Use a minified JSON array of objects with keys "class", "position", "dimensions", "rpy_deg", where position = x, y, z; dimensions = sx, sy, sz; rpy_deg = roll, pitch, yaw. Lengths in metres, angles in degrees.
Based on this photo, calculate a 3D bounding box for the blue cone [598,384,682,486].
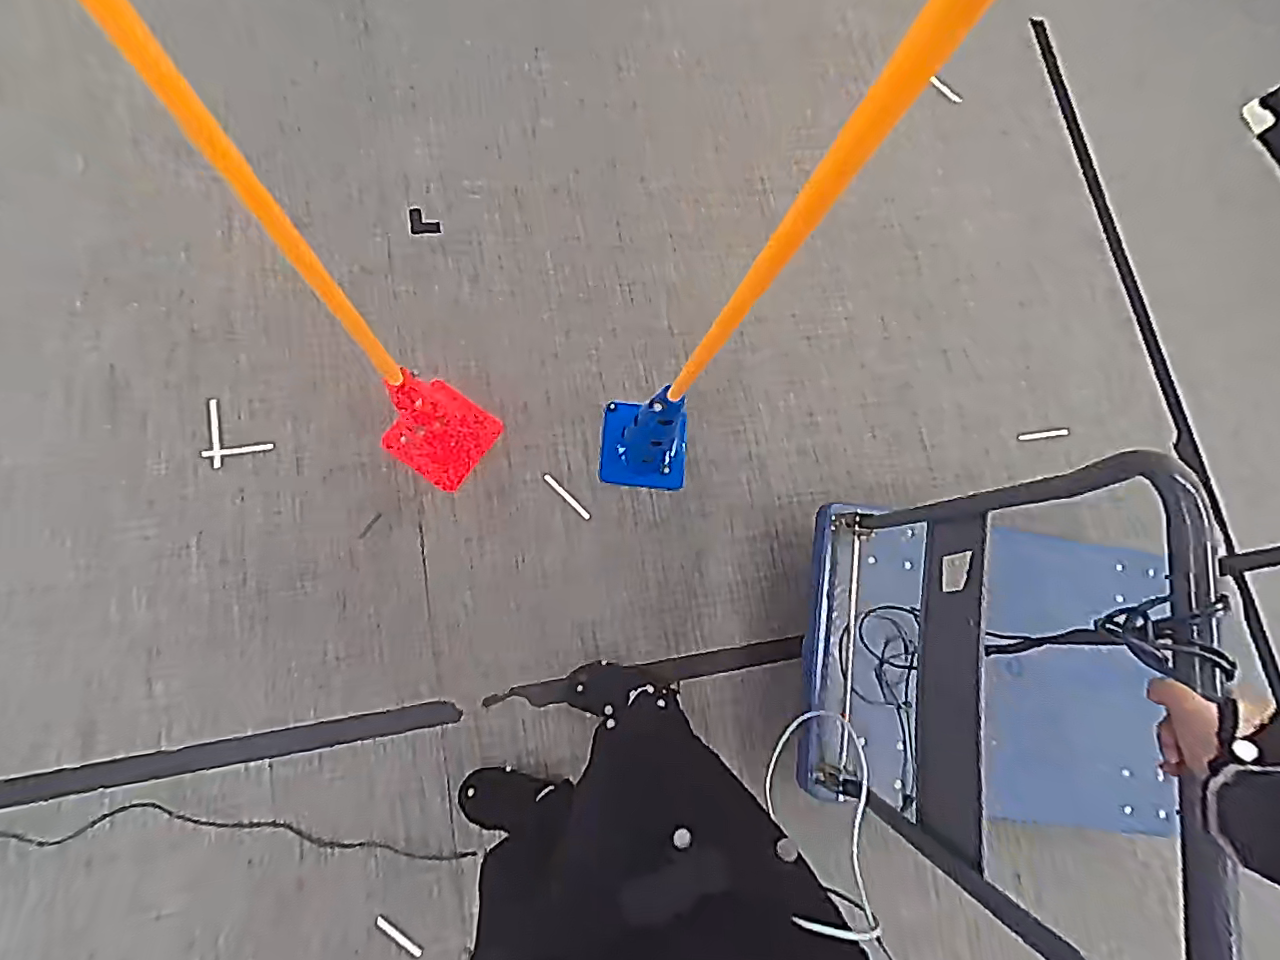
[{"class":"blue cone","position":[0.022,-0.112,1.106],"dimensions":[0.192,0.380,0.193],"rpy_deg":[7,78,-6]}]

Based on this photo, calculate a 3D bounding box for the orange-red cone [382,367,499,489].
[{"class":"orange-red cone","position":[-0.415,-0.134,1.034],"dimensions":[0.199,0.360,0.198],"rpy_deg":[37,77,-1]}]
